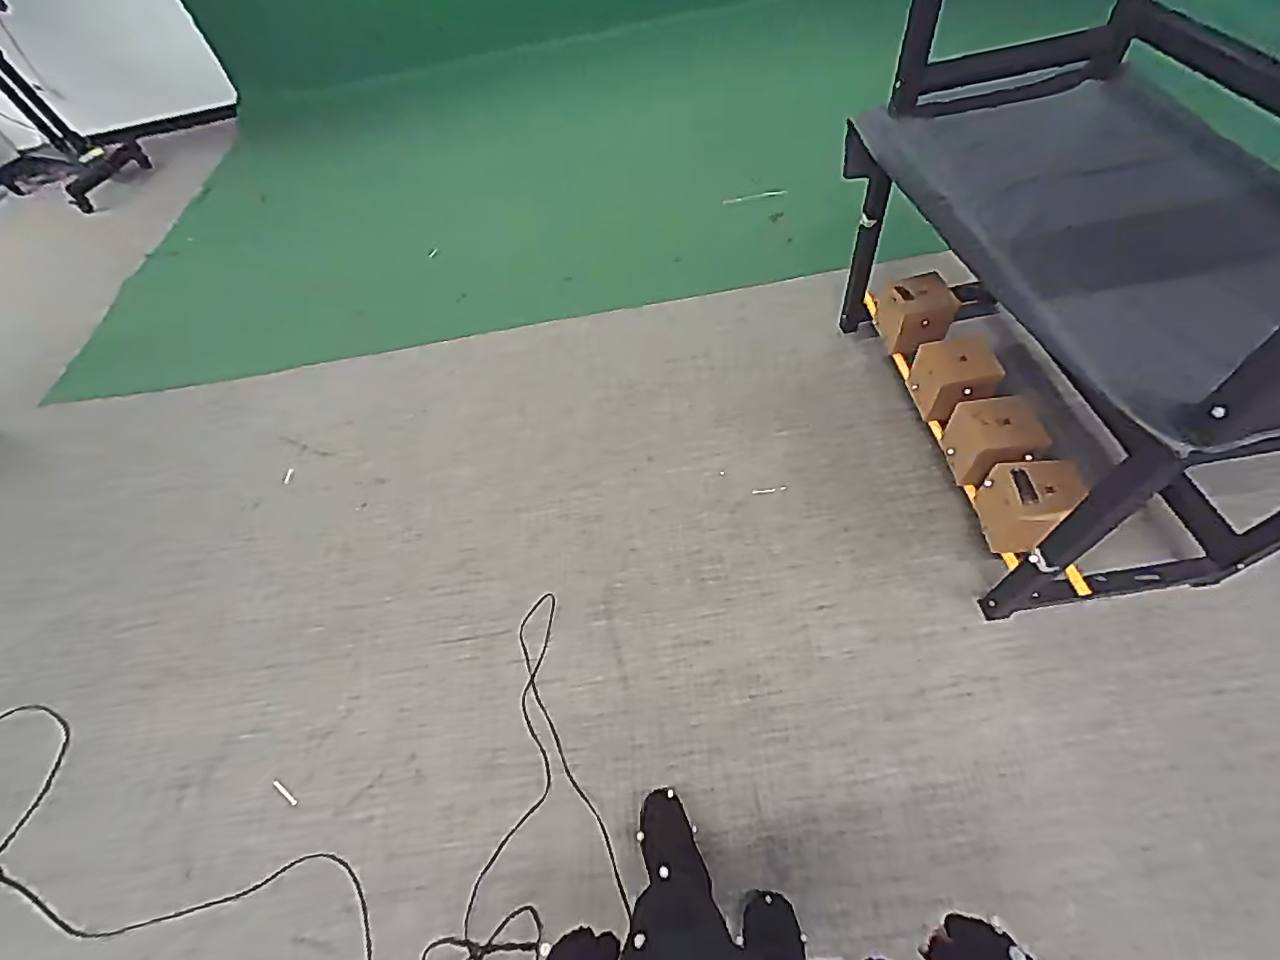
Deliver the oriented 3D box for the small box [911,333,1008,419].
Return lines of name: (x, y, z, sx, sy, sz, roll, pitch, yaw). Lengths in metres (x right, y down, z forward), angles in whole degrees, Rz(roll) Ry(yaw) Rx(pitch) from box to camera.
small box: (0.930, -0.302, 1.593, 0.179, 0.176, 0.168, -10, 56, 6)
